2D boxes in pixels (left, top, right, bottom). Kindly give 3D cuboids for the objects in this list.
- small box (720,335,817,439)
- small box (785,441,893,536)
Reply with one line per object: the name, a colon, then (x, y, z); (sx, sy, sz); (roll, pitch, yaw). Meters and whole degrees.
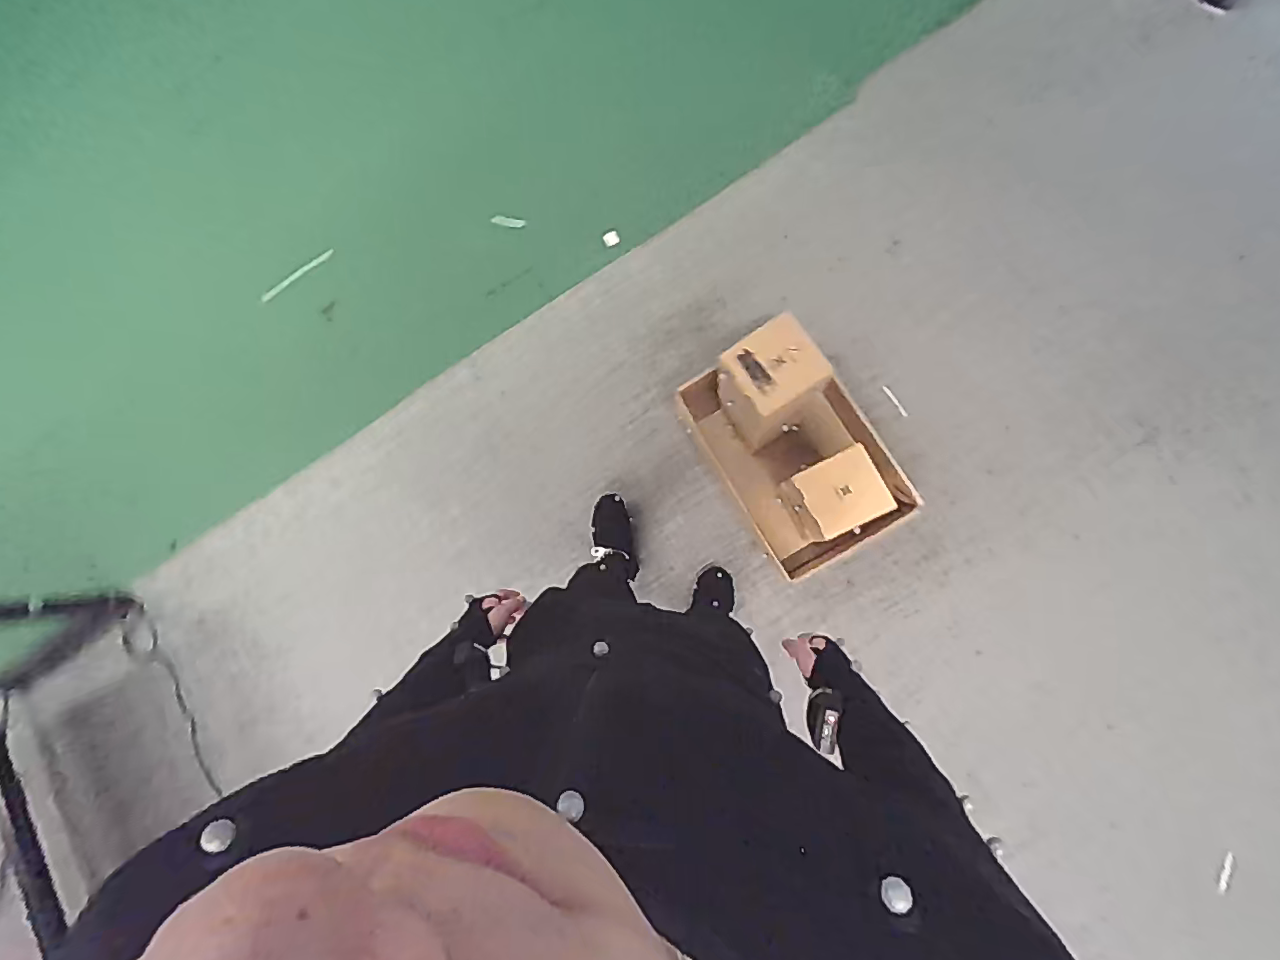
small box: (0.313, -0.227, 1.358); (0.179, 0.176, 0.168); (-33, 79, 3)
small box: (0.470, 0.023, 1.309); (0.179, 0.176, 0.168); (-27, 81, 6)
